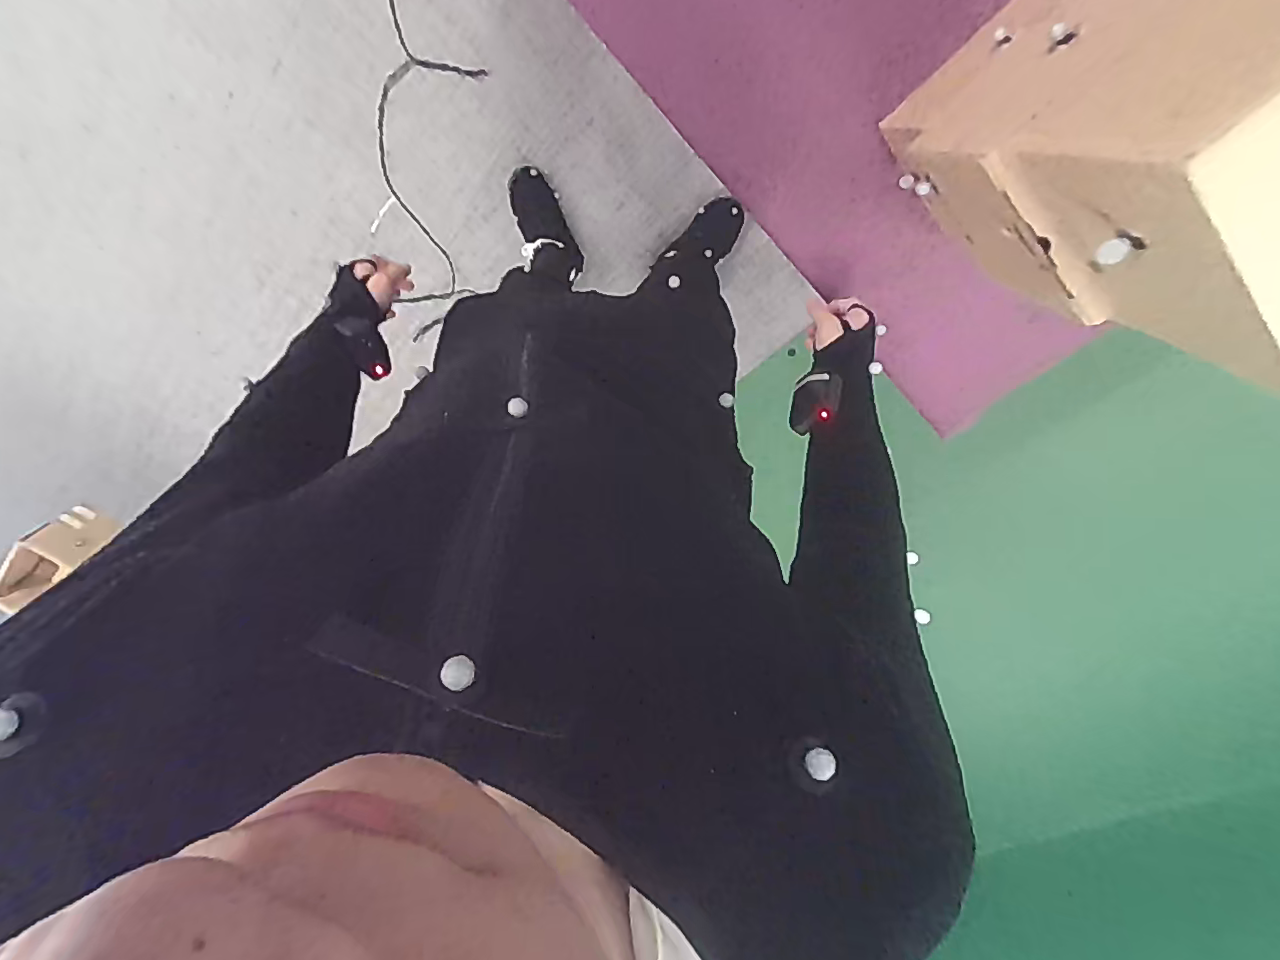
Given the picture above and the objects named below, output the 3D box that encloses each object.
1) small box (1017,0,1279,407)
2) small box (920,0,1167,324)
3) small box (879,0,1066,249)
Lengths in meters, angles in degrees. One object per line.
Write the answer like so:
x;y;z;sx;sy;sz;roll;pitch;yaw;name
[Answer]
0.345;-0.177;0.286;0.168;0.176;0.179;40;118;-18;small box
0.351;-0.260;0.425;0.168;0.176;0.179;41;117;-19;small box
0.380;-0.361;0.552;0.179;0.176;0.168;-37;112;26;small box
